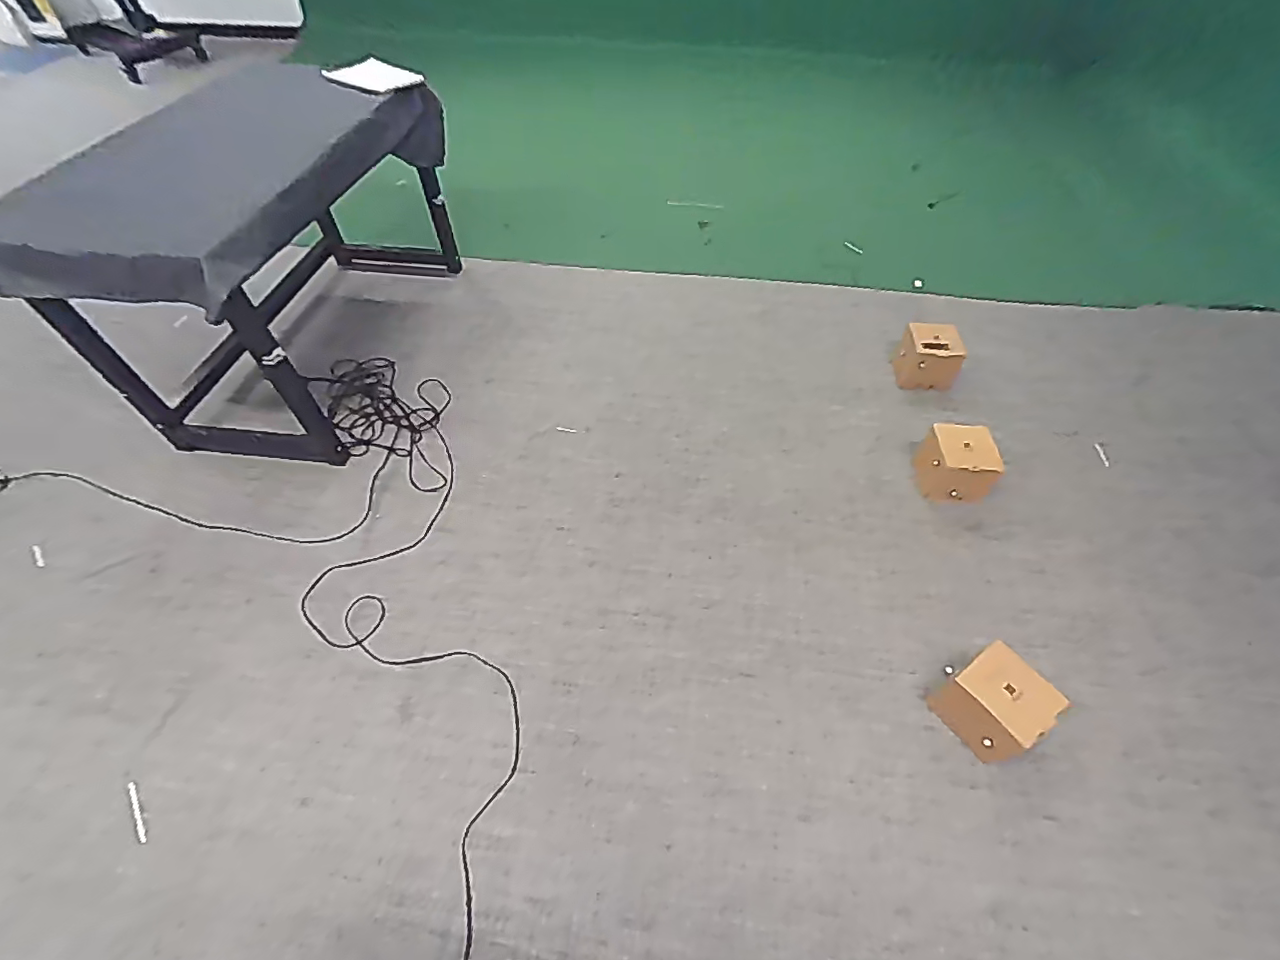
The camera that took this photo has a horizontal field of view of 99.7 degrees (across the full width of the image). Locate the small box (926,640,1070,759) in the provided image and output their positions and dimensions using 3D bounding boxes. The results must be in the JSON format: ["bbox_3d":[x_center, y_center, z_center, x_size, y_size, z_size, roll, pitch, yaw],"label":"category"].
[{"bbox_3d":[0.795,0.501,1.218,0.168,0.176,0.179,-29,57,-22],"label":"small box"}]

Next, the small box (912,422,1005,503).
[{"bbox_3d":[0.957,-0.052,1.645,0.168,0.176,0.179,4,53,2],"label":"small box"}]
